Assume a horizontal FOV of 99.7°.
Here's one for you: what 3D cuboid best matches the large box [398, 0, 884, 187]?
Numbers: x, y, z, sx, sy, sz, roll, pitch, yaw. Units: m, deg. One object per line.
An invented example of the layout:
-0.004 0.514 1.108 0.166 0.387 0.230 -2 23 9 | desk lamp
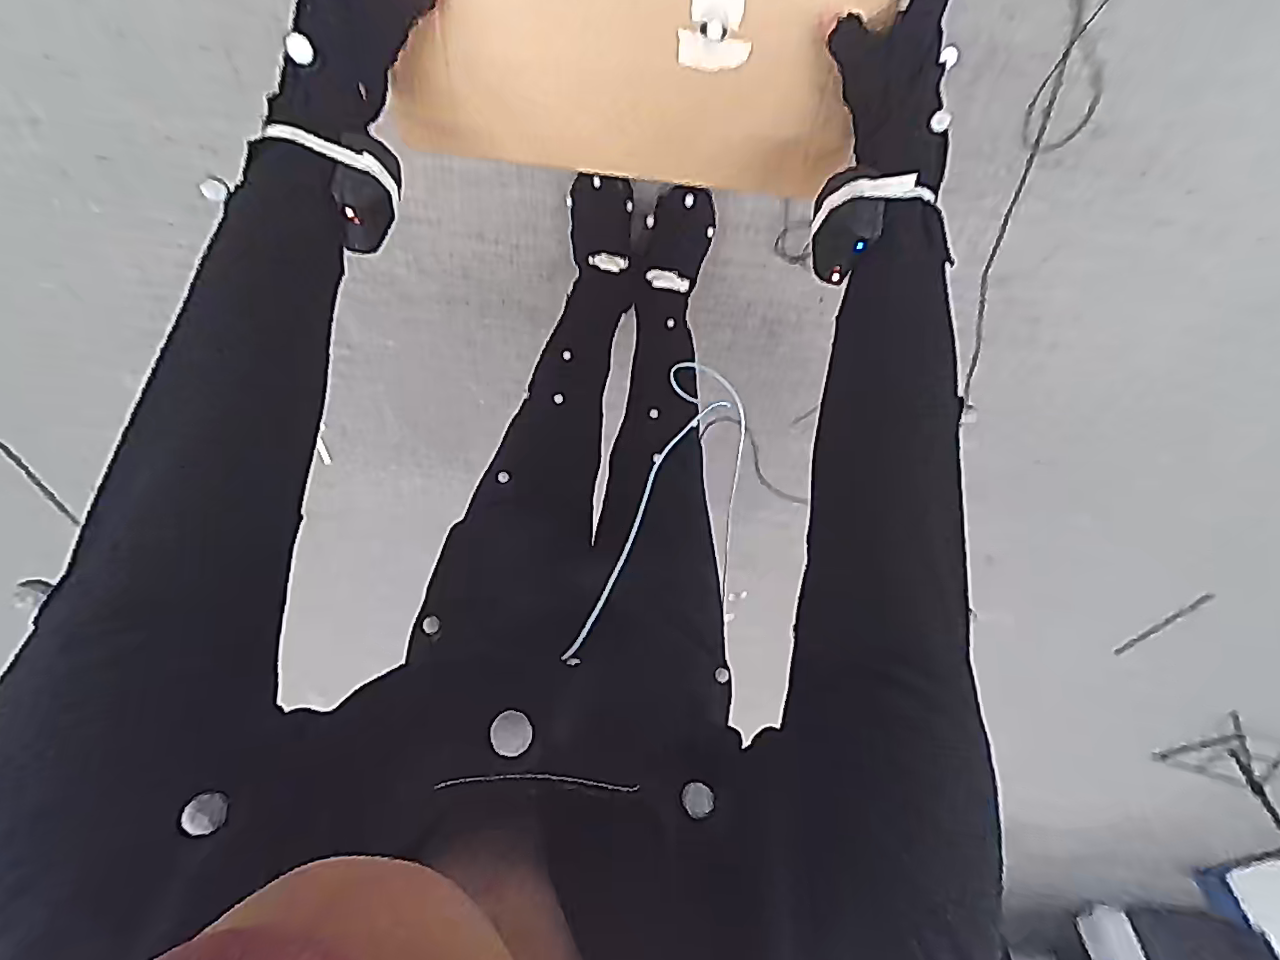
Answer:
0.006 -0.511 0.535 0.408 0.320 0.320 6 130 -2 | large box
